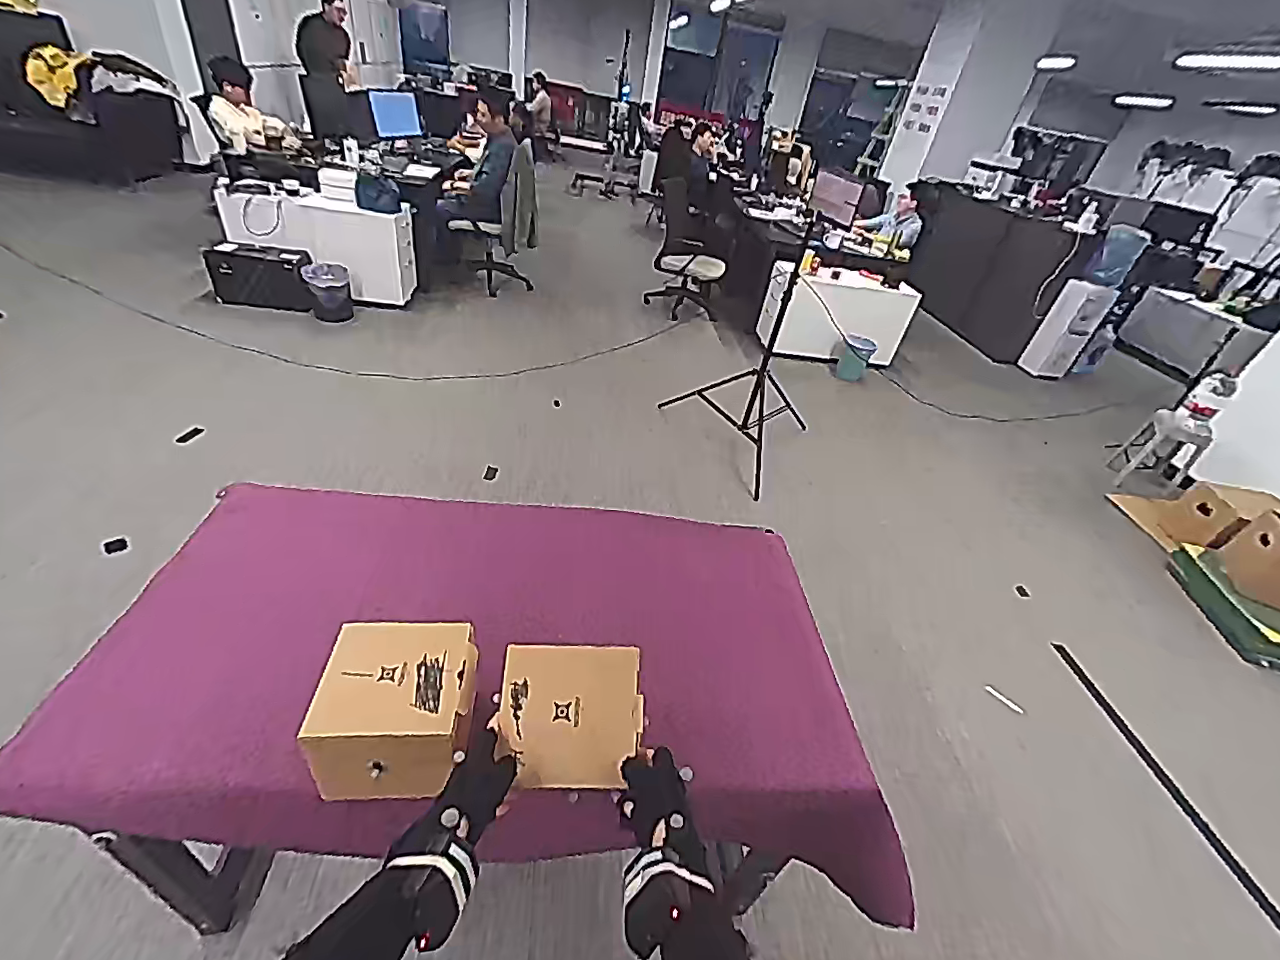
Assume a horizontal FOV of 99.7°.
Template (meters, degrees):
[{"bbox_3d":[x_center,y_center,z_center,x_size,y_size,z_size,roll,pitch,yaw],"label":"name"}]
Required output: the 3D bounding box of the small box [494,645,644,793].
[{"bbox_3d":[-0.088,0.333,0.744,0.179,0.176,0.168,2,59,-2],"label":"small box"}]

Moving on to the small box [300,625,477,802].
[{"bbox_3d":[-0.327,0.322,0.748,0.179,0.176,0.168,3,36,-9],"label":"small box"}]
